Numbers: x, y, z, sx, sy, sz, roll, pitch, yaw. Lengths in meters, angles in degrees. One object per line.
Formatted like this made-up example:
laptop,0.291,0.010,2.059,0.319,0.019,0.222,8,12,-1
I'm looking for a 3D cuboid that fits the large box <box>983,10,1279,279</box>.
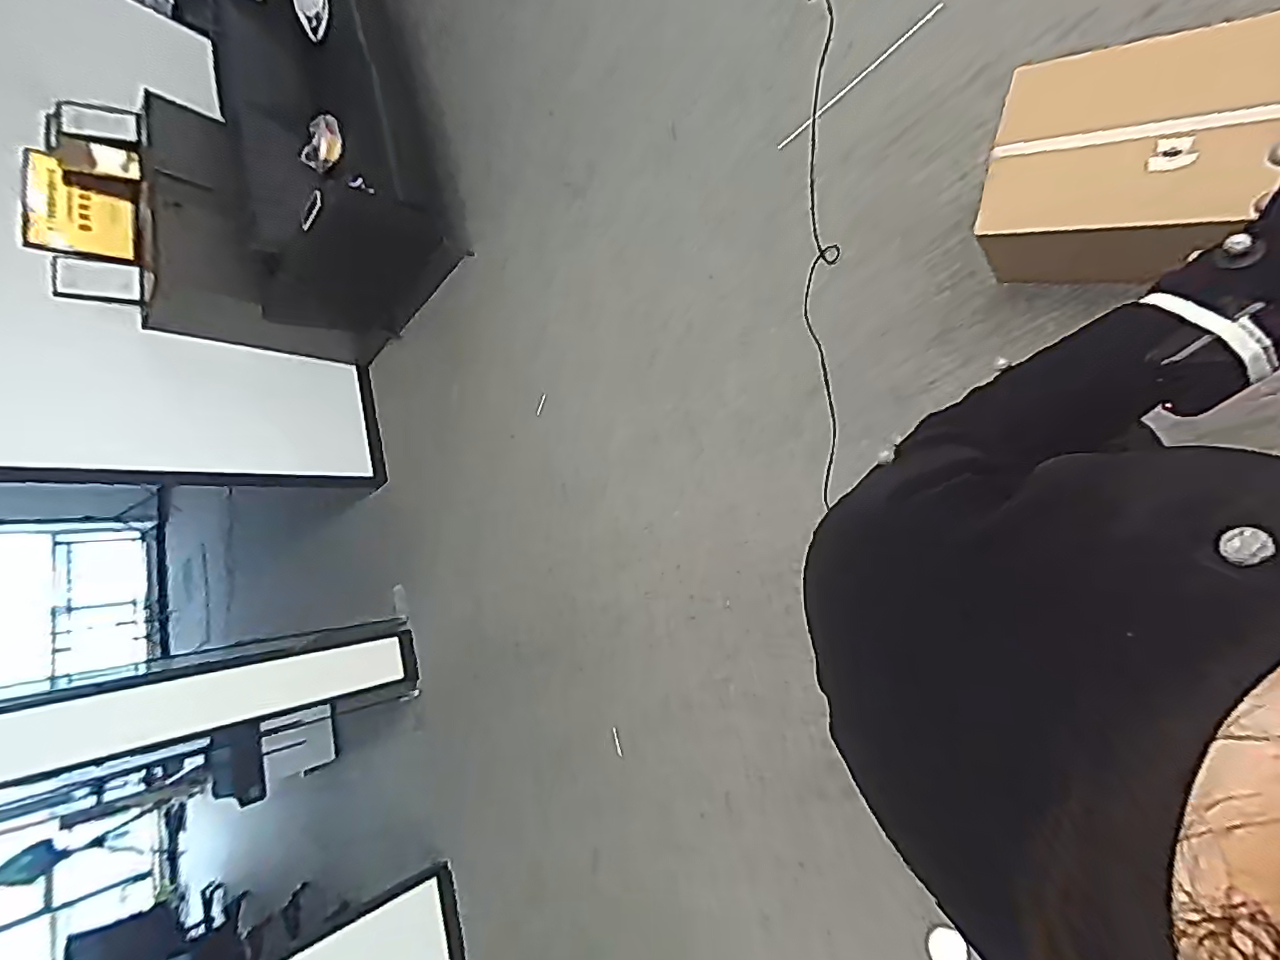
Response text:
large box,0.941,-0.590,1.036,0.408,0.320,0.320,17,100,39
